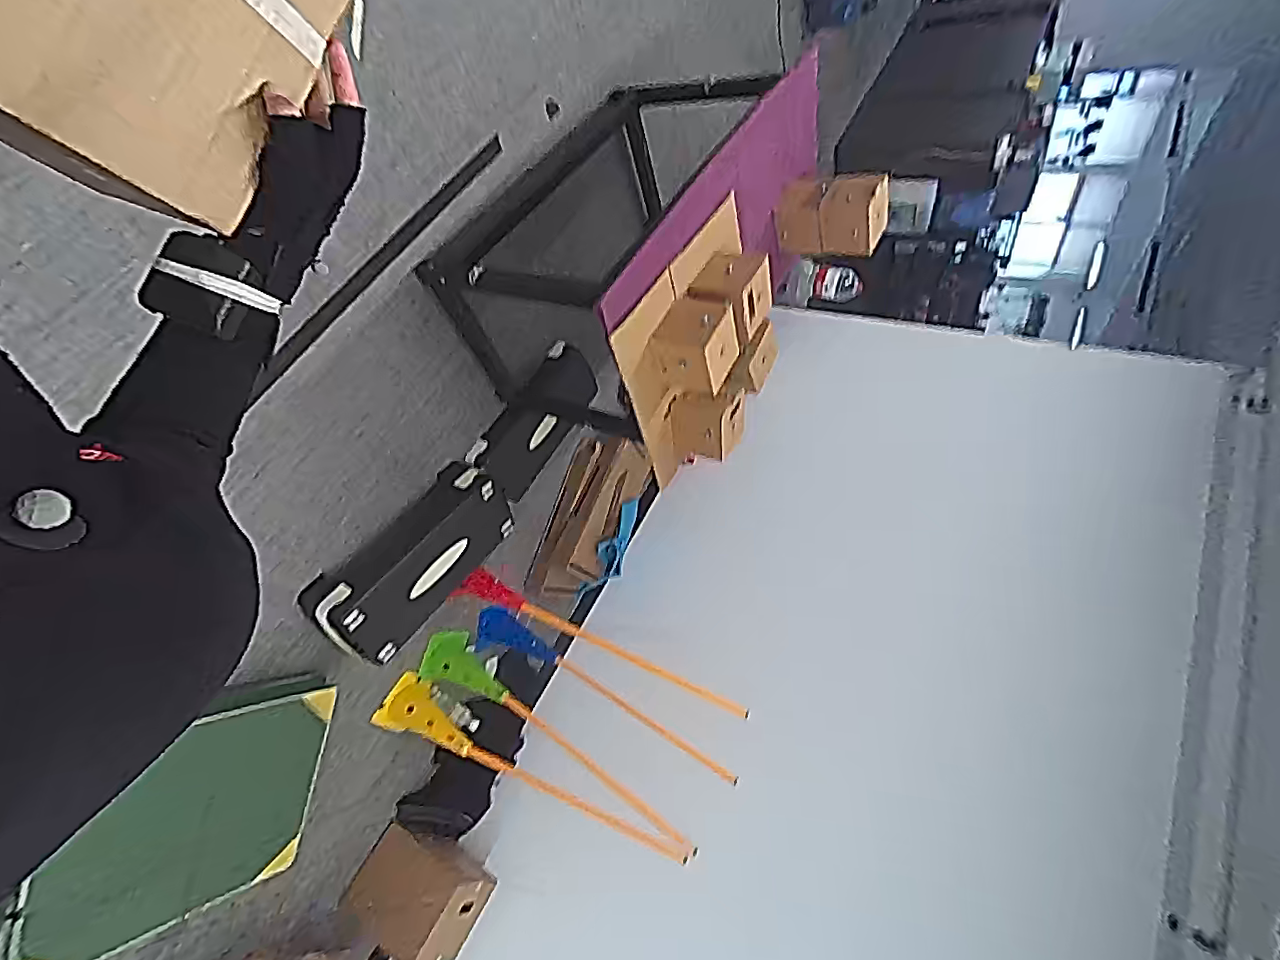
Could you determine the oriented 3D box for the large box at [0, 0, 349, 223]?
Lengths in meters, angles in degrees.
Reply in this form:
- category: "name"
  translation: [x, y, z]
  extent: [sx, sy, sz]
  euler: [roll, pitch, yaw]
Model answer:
- category: "large box"
  translation: [-0.459, -0.432, 0.326]
  extent: [0.320, 0.320, 0.408]
  euler: [-64, 151, -1]
